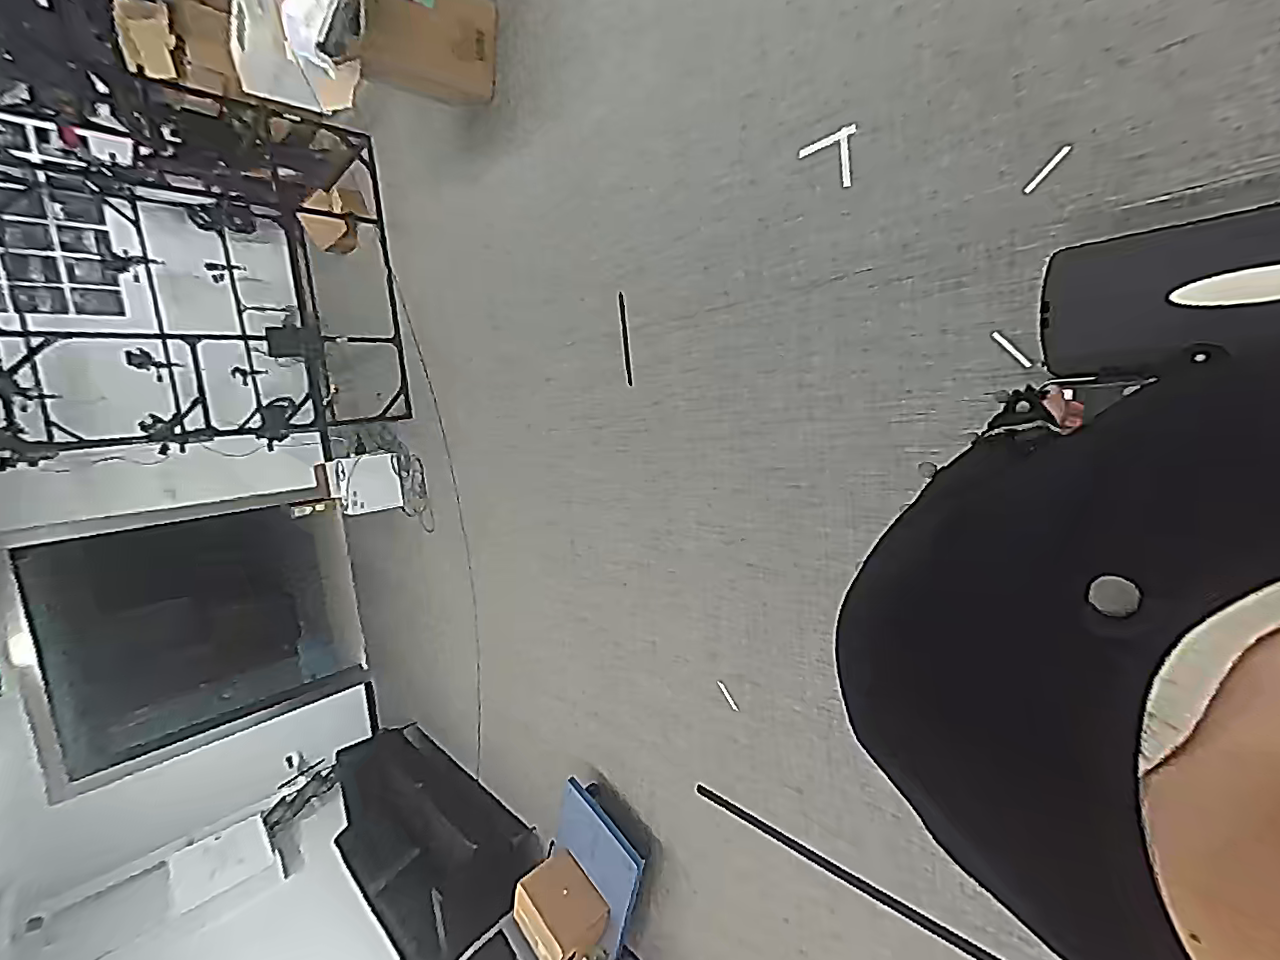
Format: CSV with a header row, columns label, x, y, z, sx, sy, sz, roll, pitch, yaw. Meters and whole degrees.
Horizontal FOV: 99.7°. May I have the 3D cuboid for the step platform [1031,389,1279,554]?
label,x,y,z,sx,sy,sz,roll,pitch,yaw
step platform,1.143,-0.021,0.996,0.684,0.204,0.286,11,105,47
